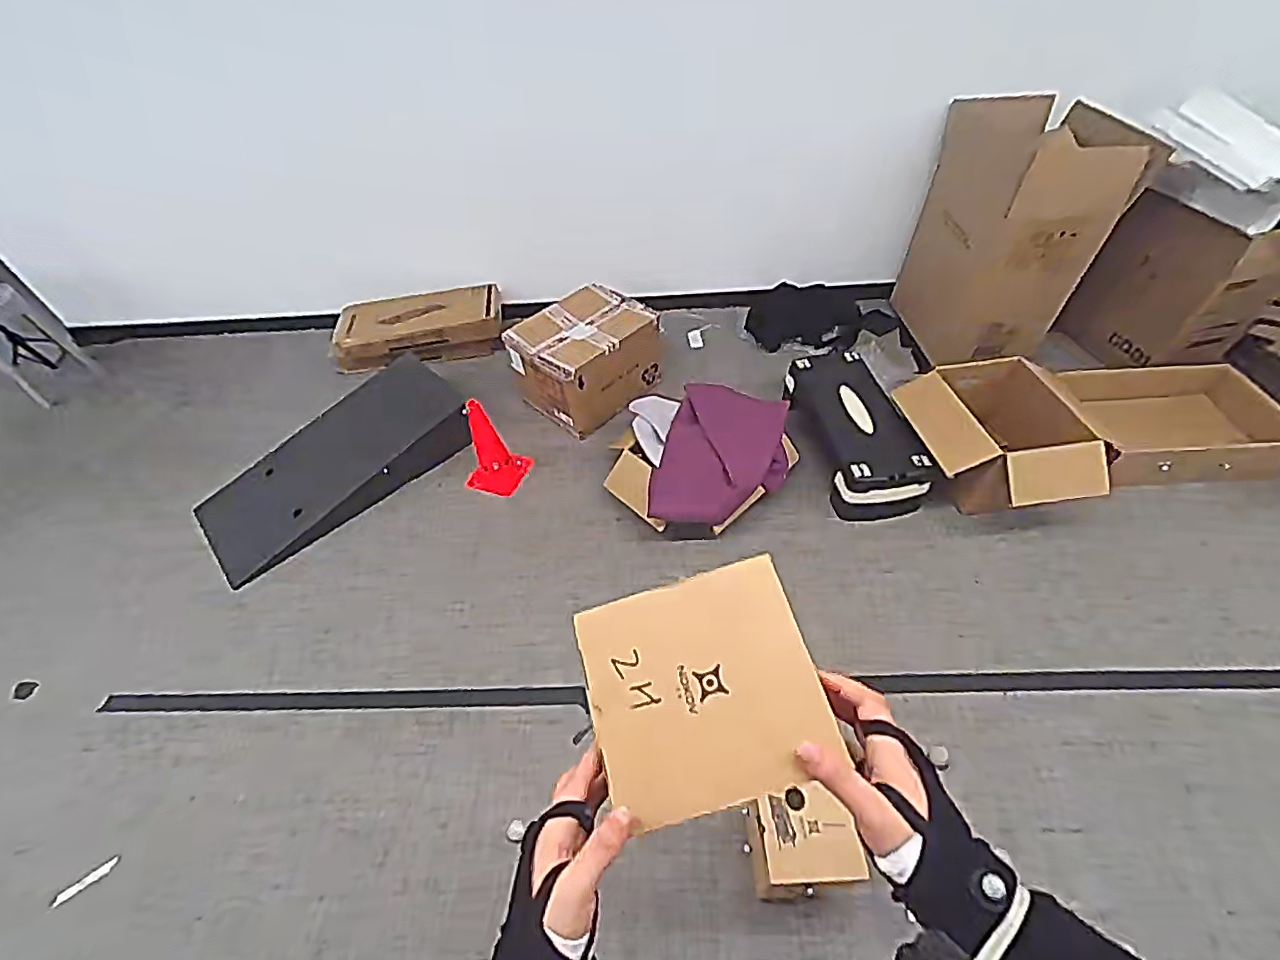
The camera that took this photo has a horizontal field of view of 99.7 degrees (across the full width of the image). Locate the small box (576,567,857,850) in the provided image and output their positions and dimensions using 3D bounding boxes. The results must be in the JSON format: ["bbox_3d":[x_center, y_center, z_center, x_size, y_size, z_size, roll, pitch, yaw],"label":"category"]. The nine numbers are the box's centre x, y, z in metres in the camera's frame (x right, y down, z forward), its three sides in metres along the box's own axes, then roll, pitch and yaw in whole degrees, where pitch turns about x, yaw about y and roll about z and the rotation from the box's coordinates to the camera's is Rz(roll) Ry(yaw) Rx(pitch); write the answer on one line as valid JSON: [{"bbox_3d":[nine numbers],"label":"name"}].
[{"bbox_3d":[0.060,0.196,0.475,0.179,0.176,0.168,-17,62,3],"label":"small box"}]

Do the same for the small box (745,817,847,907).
[{"bbox_3d":[0.322,0.798,1.153,0.168,0.176,0.179,-4,49,1],"label":"small box"}]

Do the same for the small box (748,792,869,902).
[{"bbox_3d":[0.305,0.691,1.027,0.179,0.176,0.168,-3,48,1],"label":"small box"}]
